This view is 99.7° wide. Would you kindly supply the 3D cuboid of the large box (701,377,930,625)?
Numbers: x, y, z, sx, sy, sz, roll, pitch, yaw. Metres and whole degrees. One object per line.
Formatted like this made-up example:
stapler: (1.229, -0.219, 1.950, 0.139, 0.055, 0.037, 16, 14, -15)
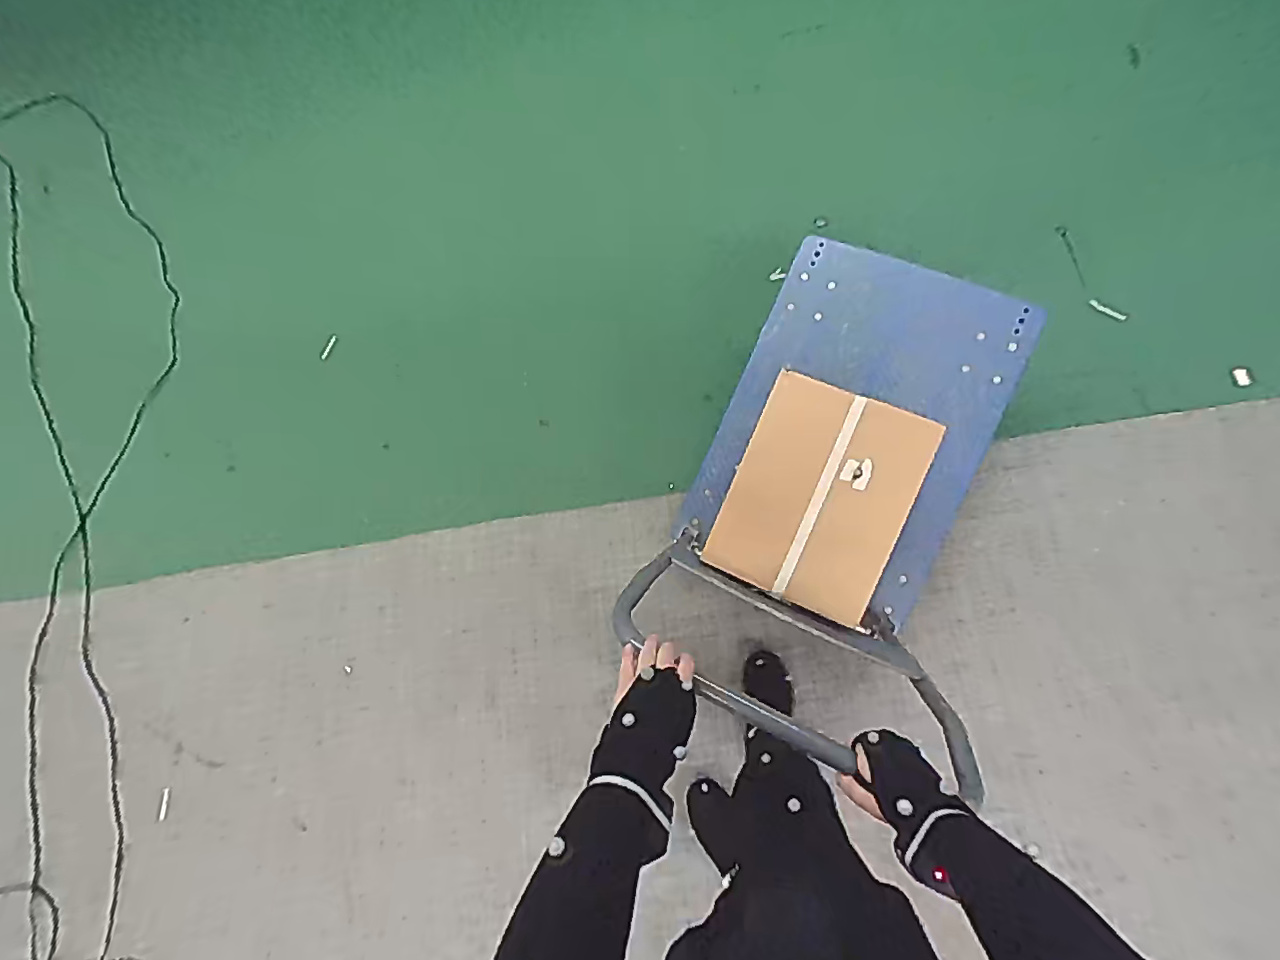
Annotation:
large box: (0.360, 0.046, 1.178, 0.320, 0.320, 0.408, 23, 91, 12)
